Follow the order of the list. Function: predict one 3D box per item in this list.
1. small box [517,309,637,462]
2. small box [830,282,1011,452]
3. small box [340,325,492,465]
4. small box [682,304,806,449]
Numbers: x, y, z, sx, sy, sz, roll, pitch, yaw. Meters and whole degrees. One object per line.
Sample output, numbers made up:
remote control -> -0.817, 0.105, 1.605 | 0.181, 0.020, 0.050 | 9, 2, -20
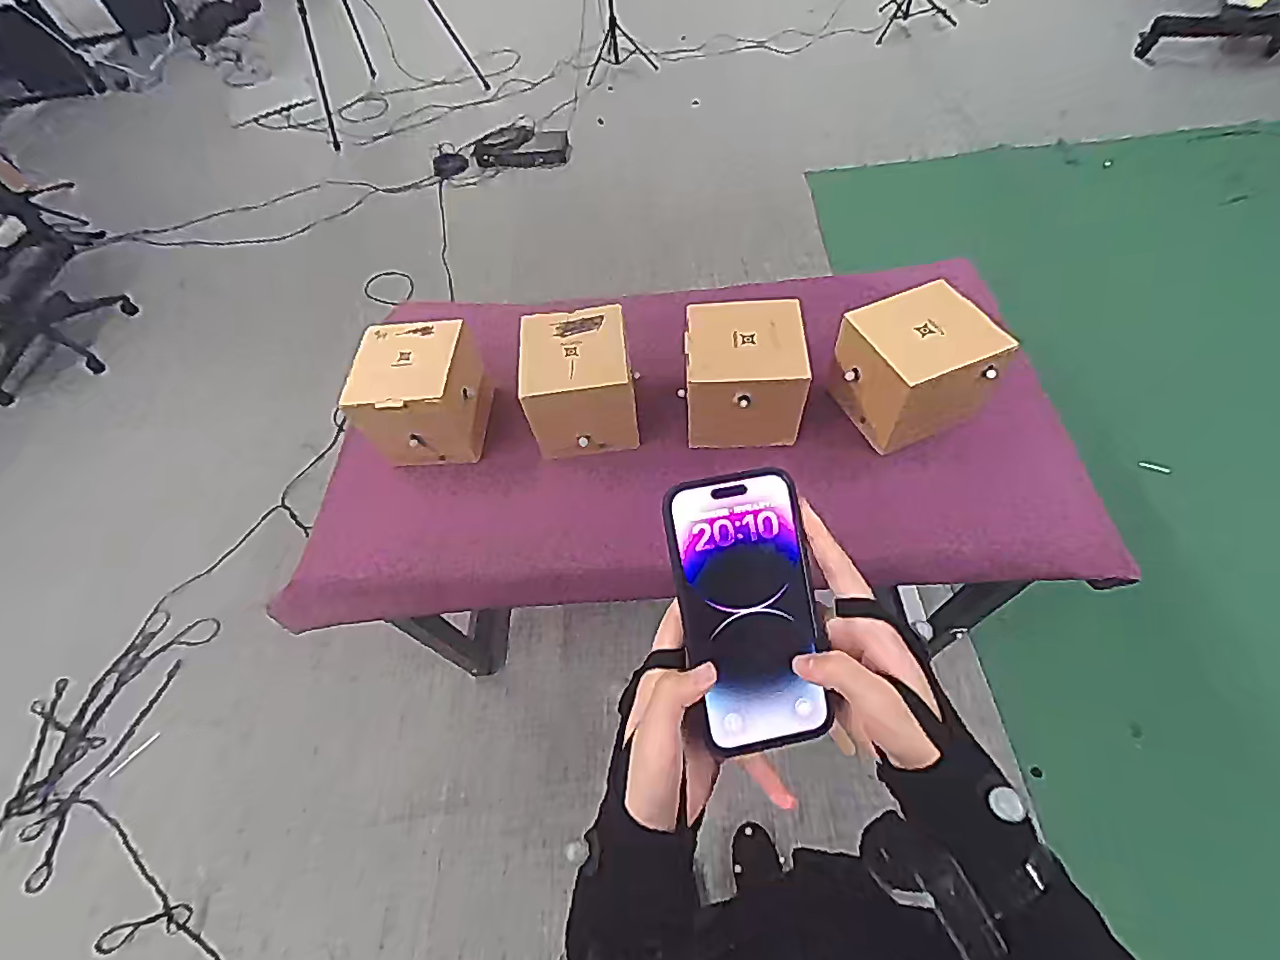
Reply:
small box -> -0.098, -0.153, 0.899 | 0.168, 0.176, 0.179 | -7, 57, 3
small box -> 0.417, -0.170, 0.847 | 0.179, 0.176, 0.168 | -21, 57, -7
small box -> -0.365, -0.136, 0.920 | 0.168, 0.176, 0.179 | -3, 58, 5
small box -> 0.160, -0.161, 0.873 | 0.179, 0.176, 0.168 | -1, 58, 6
